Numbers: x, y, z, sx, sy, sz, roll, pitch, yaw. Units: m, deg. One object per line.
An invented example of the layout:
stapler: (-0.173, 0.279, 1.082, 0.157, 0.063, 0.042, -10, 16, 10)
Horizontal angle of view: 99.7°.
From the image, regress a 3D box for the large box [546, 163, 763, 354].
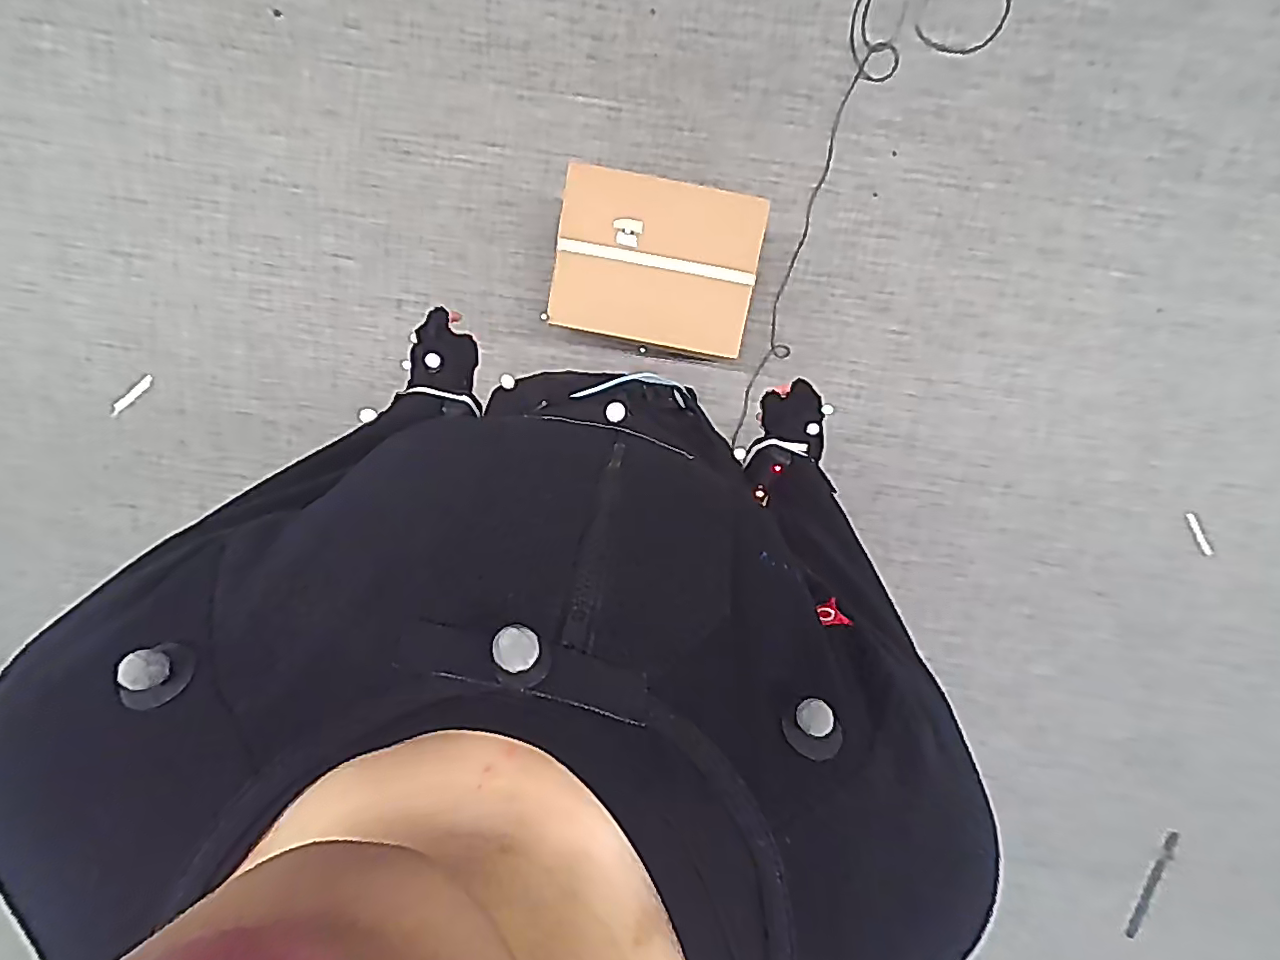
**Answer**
large box: (0.032, -0.475, 1.238, 0.408, 0.320, 0.320, 11, 101, 0)
